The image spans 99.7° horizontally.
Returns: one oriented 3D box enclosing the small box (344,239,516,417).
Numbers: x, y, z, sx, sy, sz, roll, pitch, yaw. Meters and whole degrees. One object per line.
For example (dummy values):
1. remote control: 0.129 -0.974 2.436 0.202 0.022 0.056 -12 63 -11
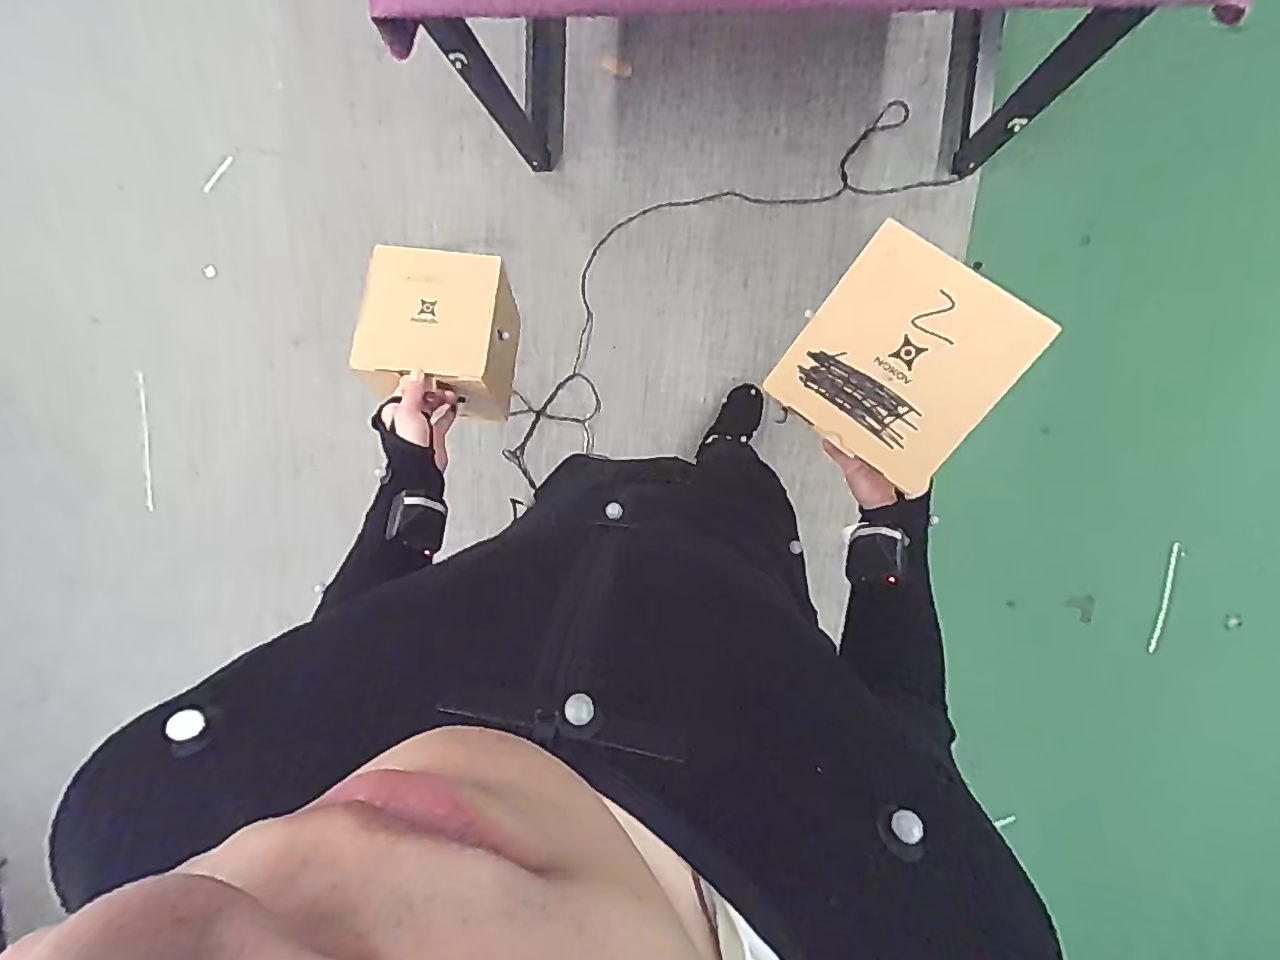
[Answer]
1. small box: -0.274 -0.198 0.750 0.168 0.176 0.179 5 76 -2
